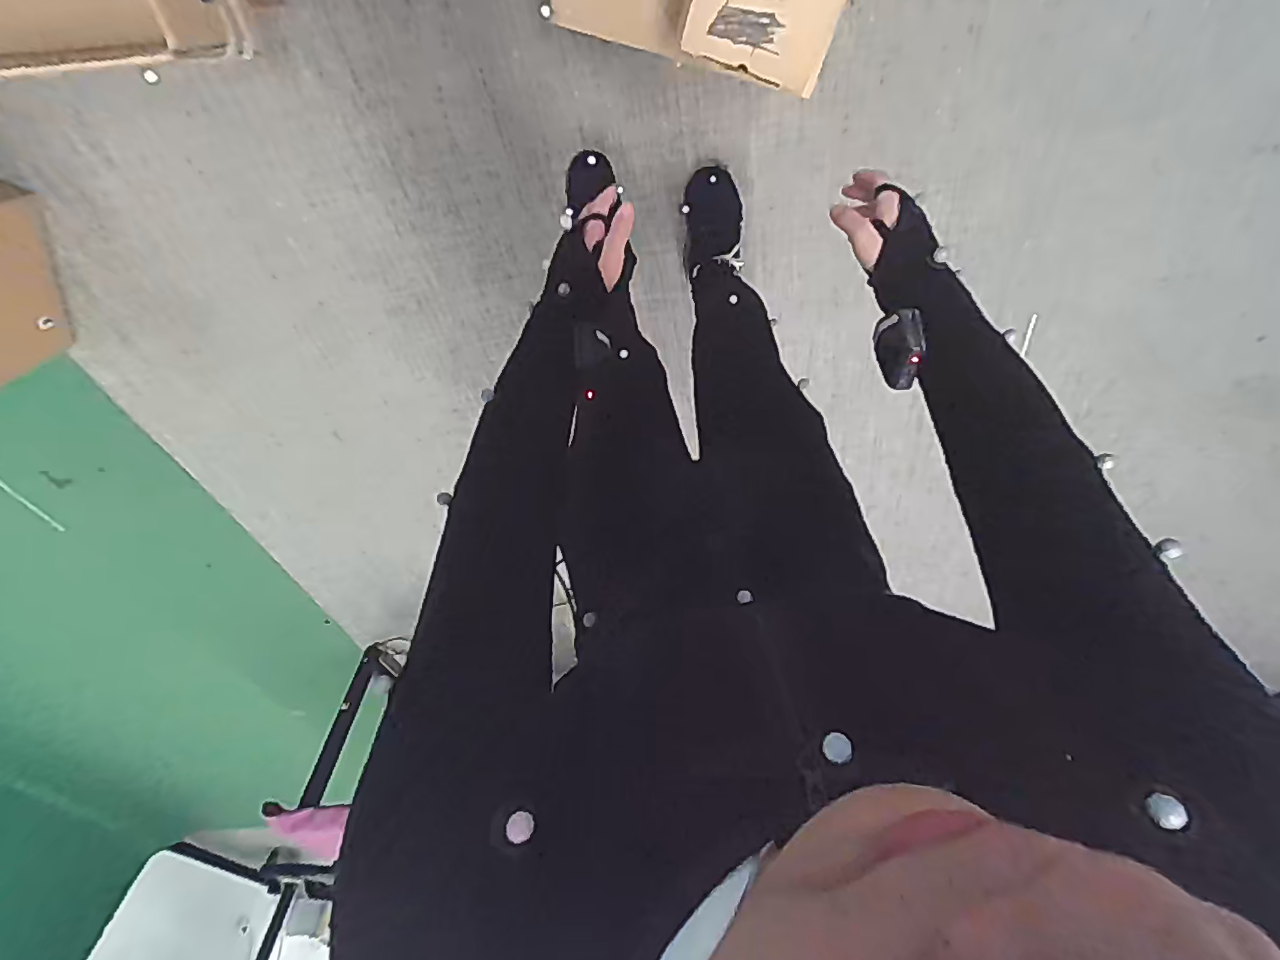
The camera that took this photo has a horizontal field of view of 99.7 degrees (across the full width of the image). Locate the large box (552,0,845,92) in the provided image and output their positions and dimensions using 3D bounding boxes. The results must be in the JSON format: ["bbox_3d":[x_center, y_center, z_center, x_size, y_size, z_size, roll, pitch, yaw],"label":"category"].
[{"bbox_3d":[0.105,-0.827,0.804,0.408,0.320,0.320,11,131,-7],"label":"large box"}]

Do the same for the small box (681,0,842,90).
[{"bbox_3d":[0.154,-0.617,0.660,0.168,0.176,0.179,13,132,-11],"label":"small box"}]
